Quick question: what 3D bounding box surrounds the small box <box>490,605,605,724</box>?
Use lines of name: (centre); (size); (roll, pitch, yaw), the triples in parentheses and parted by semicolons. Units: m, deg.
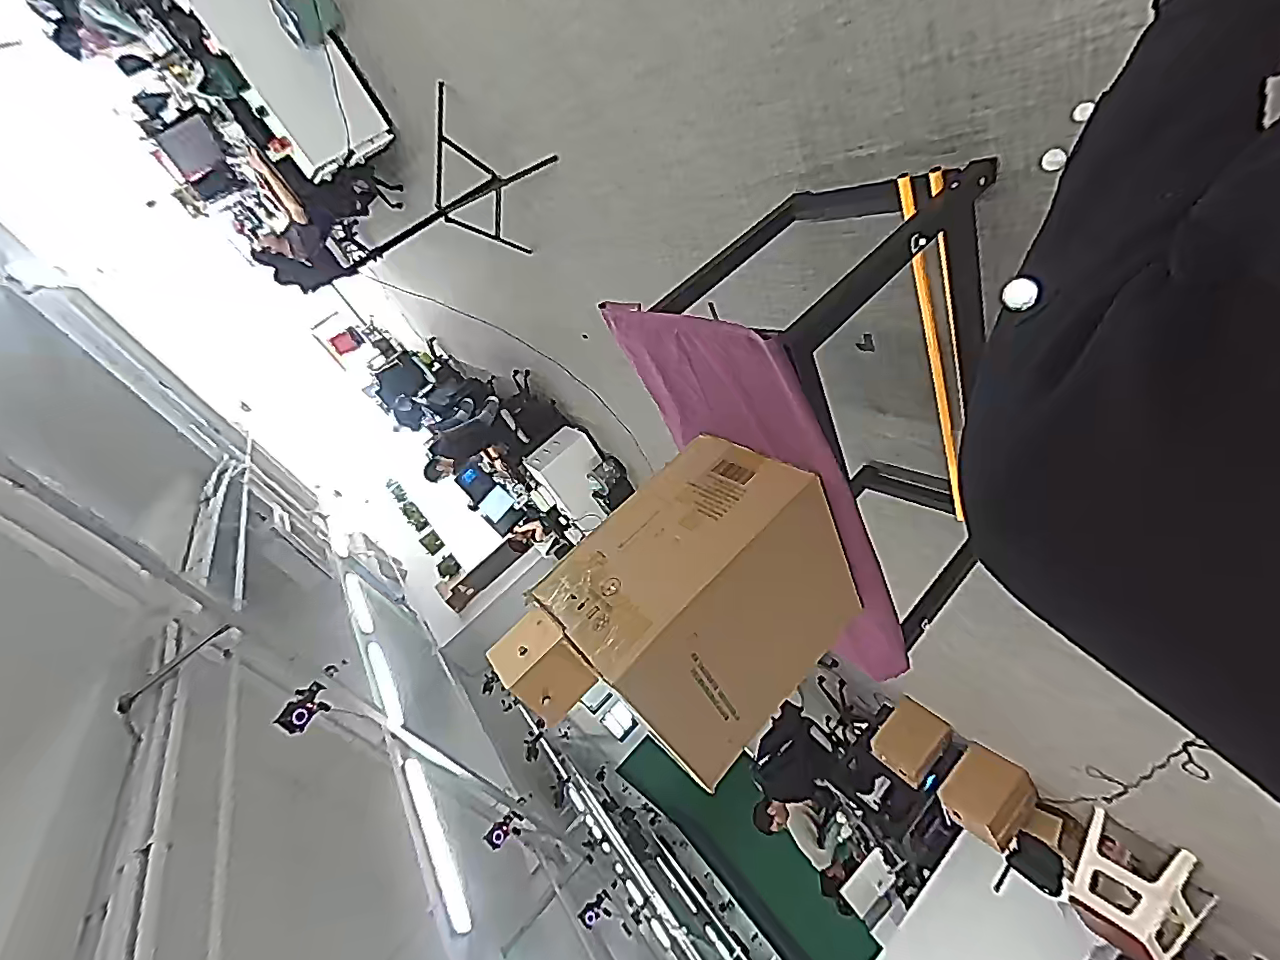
small box: (-0.218, 0.431, 1.285); (0.168, 0.176, 0.179); (24, 154, 56)
